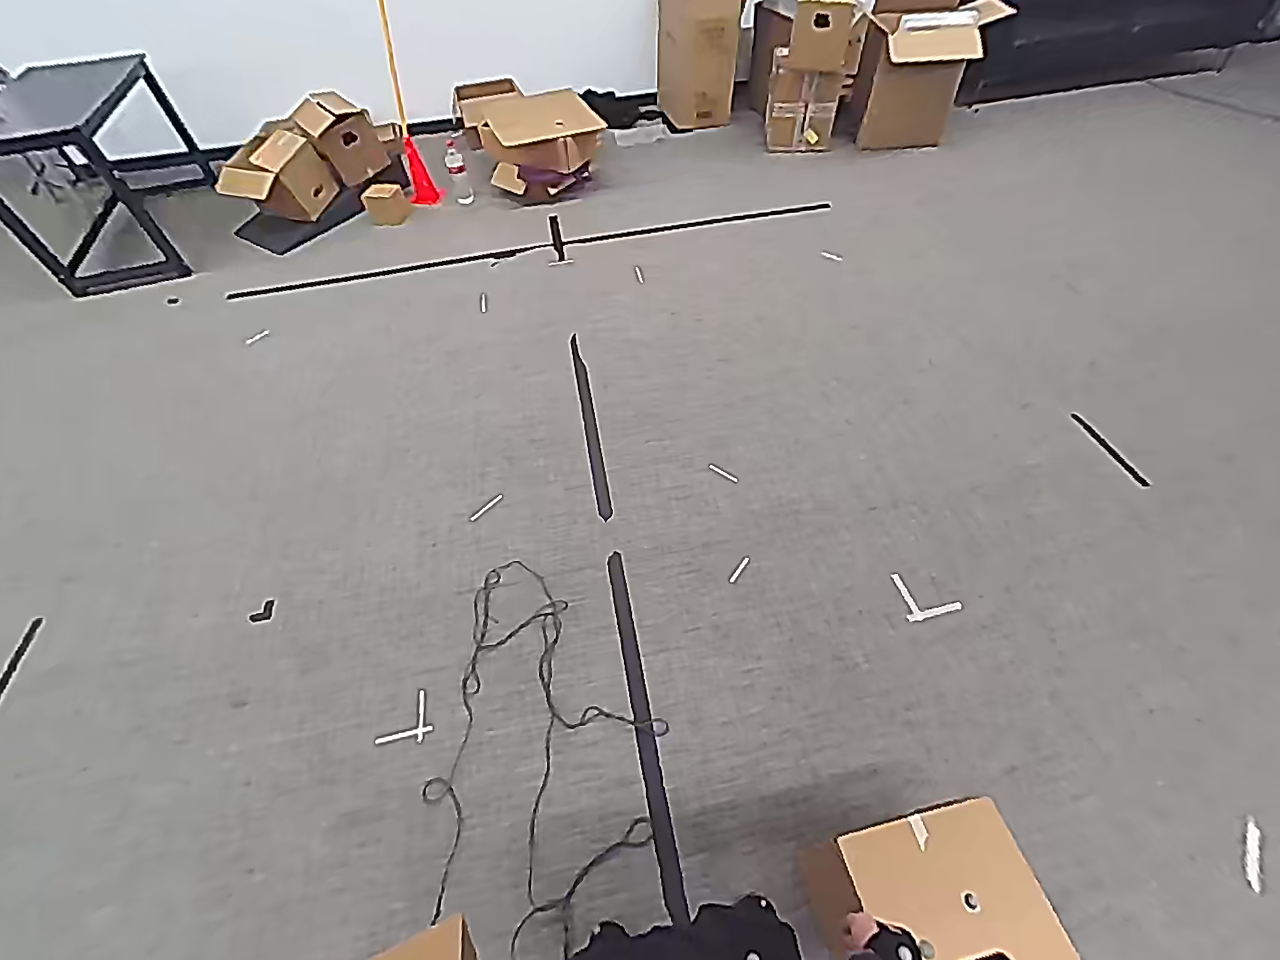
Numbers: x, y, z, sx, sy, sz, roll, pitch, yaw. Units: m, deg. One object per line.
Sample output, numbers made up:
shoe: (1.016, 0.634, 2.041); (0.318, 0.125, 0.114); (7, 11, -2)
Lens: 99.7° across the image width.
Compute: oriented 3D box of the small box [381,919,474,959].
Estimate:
small box: (-0.277, 0.721, 0.668); (0.168, 0.179, 0.176); (-17, 93, -18)
